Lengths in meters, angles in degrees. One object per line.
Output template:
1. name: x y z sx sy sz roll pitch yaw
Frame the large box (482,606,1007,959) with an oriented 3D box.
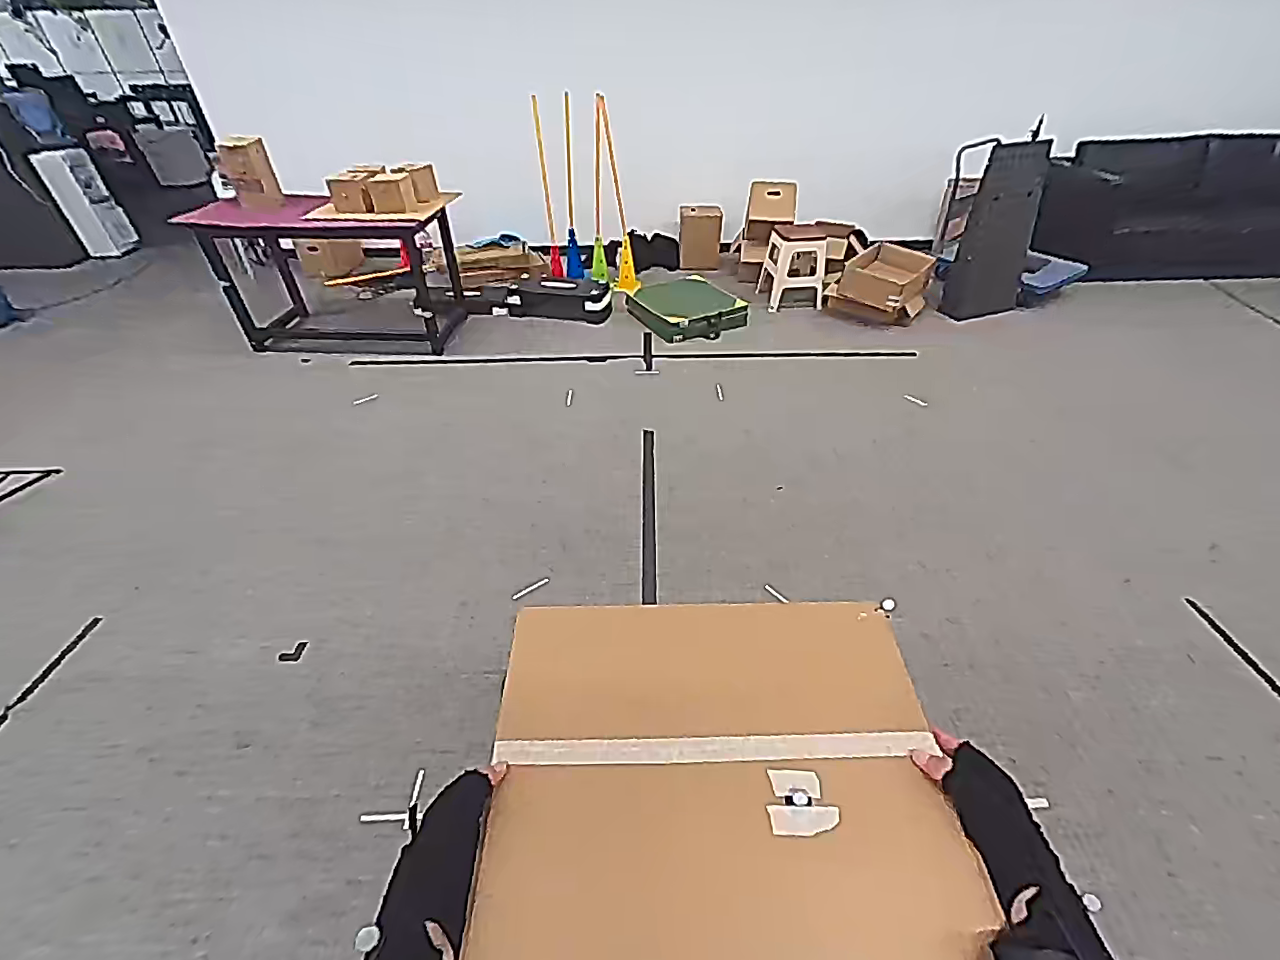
1. large box: 0.077 0.361 0.610 0.408 0.320 0.320 -1 45 0
